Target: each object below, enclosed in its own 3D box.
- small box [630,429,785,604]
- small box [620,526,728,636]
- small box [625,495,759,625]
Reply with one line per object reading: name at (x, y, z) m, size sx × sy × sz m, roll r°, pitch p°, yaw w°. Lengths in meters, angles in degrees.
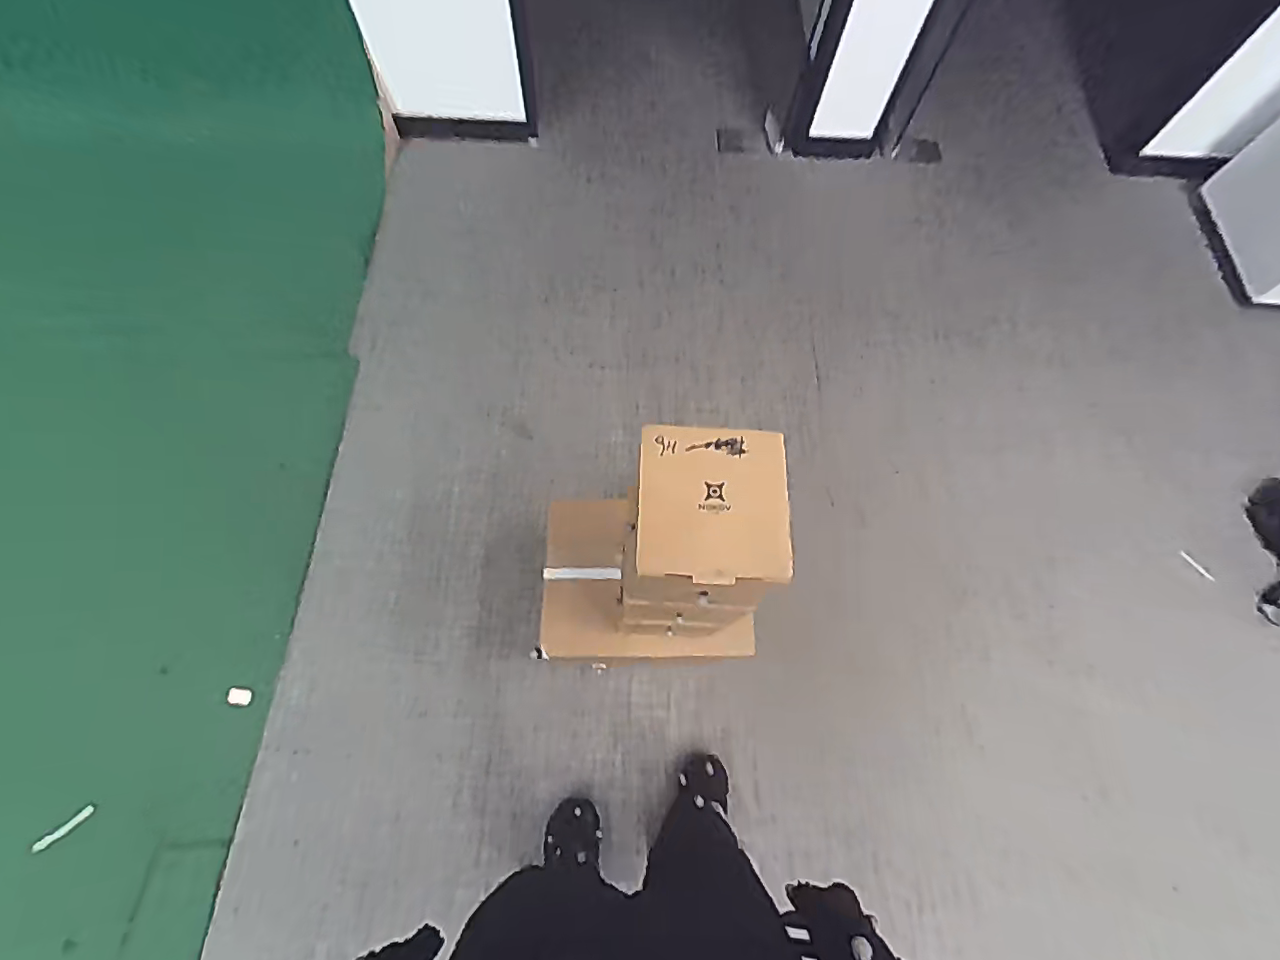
small box at (0.075, 0.055, 0.667) m, size 0.168 × 0.176 × 0.179 m, roll 3°, pitch 69°, yaw -1°
small box at (0.054, 0.186, 0.967) m, size 0.179 × 0.176 × 0.168 m, roll 3°, pitch 69°, yaw -3°
small box at (0.068, 0.125, 0.815) m, size 0.179 × 0.176 × 0.168 m, roll 1°, pitch 69°, yaw -3°
